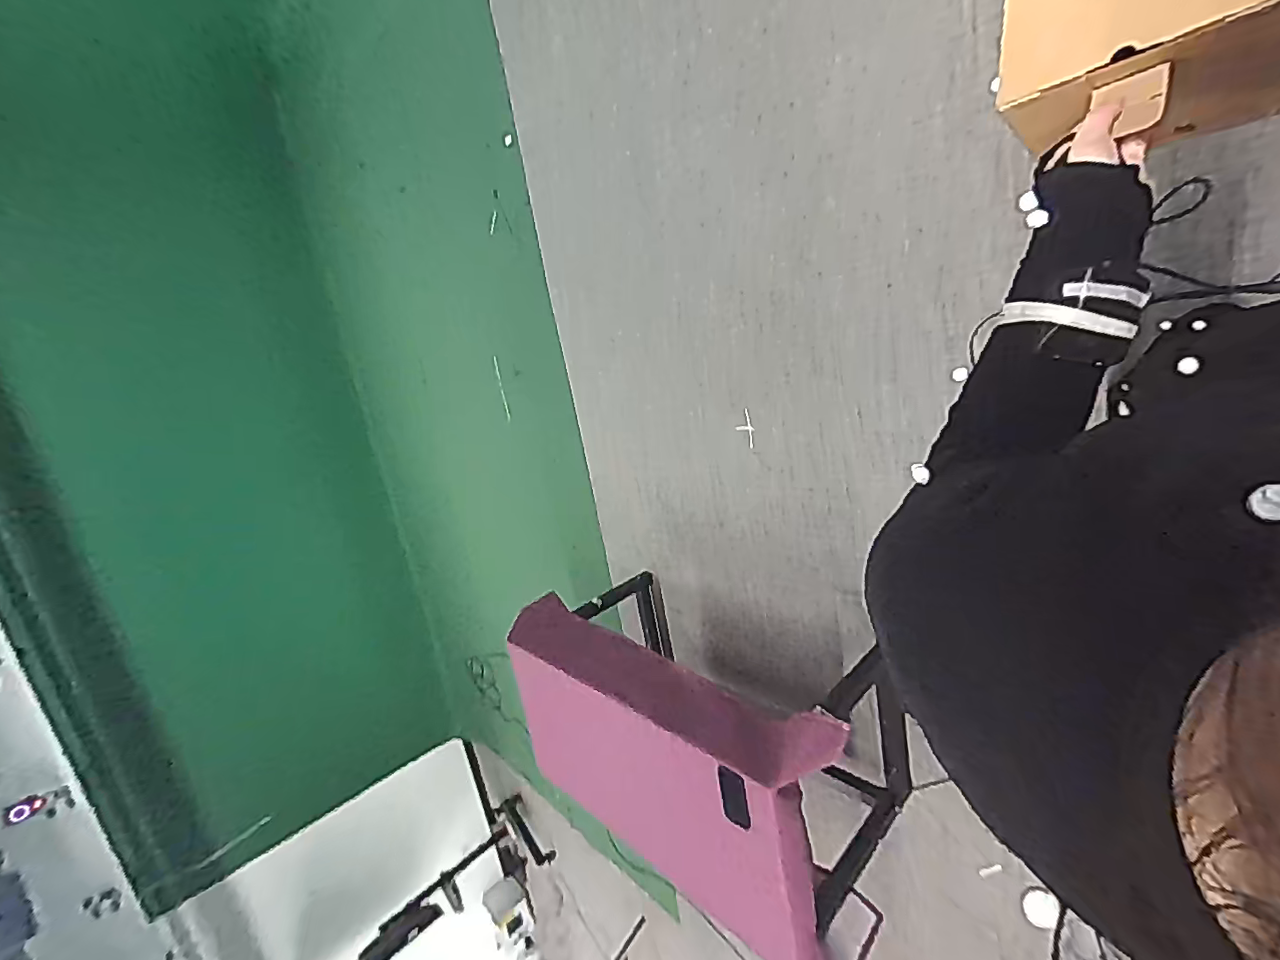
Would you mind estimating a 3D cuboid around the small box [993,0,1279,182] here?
[{"bbox_3d":[0.431,-0.397,0.464,0.168,0.176,0.179,6,95,50],"label":"small box"}]
